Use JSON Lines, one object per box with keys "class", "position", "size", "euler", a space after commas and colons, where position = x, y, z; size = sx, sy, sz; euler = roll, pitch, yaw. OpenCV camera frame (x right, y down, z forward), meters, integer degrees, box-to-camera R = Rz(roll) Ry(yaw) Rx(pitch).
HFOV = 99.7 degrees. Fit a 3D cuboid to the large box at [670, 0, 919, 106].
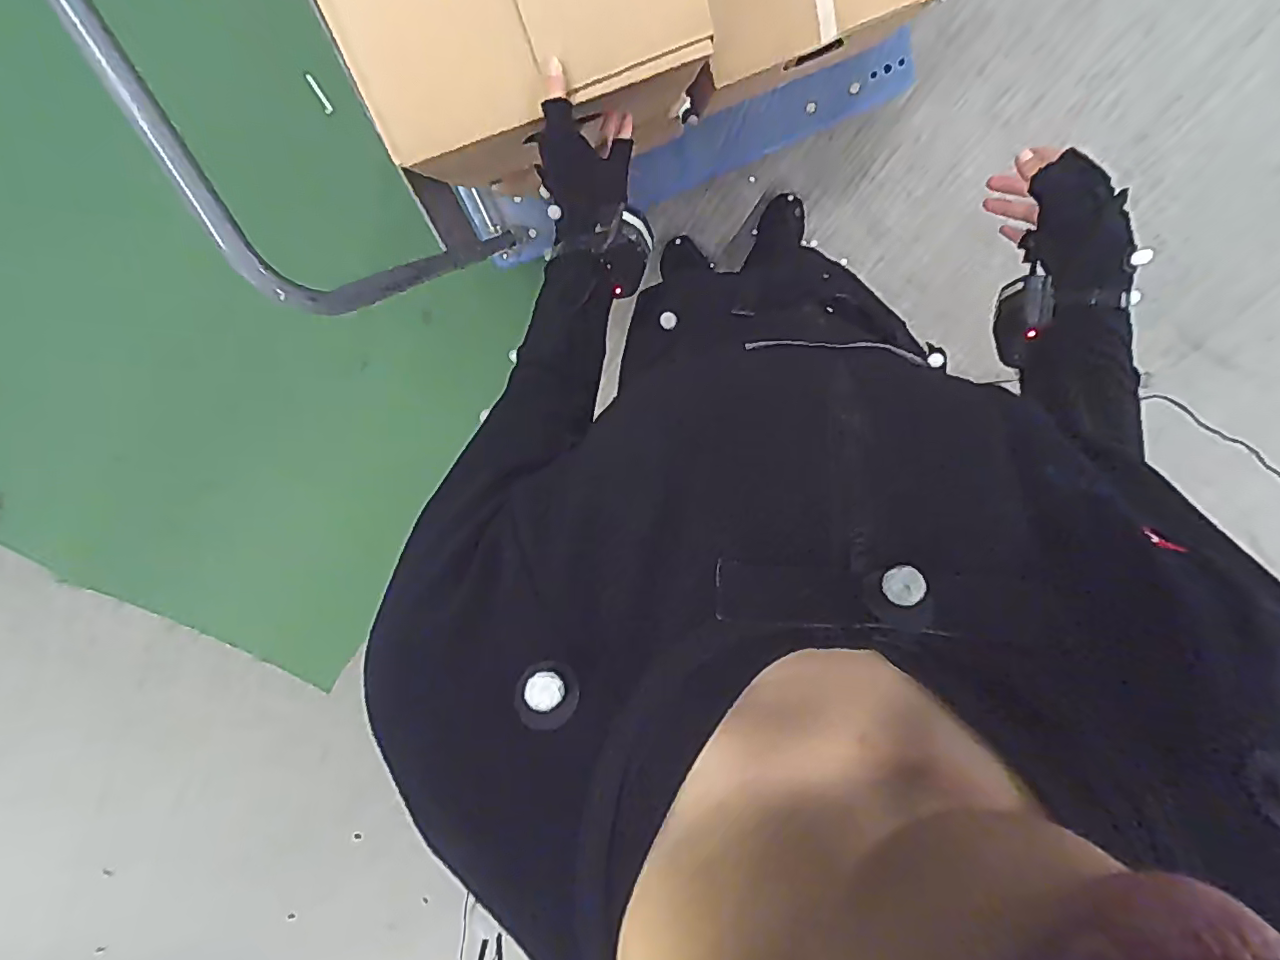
{"class": "large box", "position": [0.182, -0.825, 0.756], "size": [0.320, 0.320, 0.408], "euler": [-16, 117, 11]}
